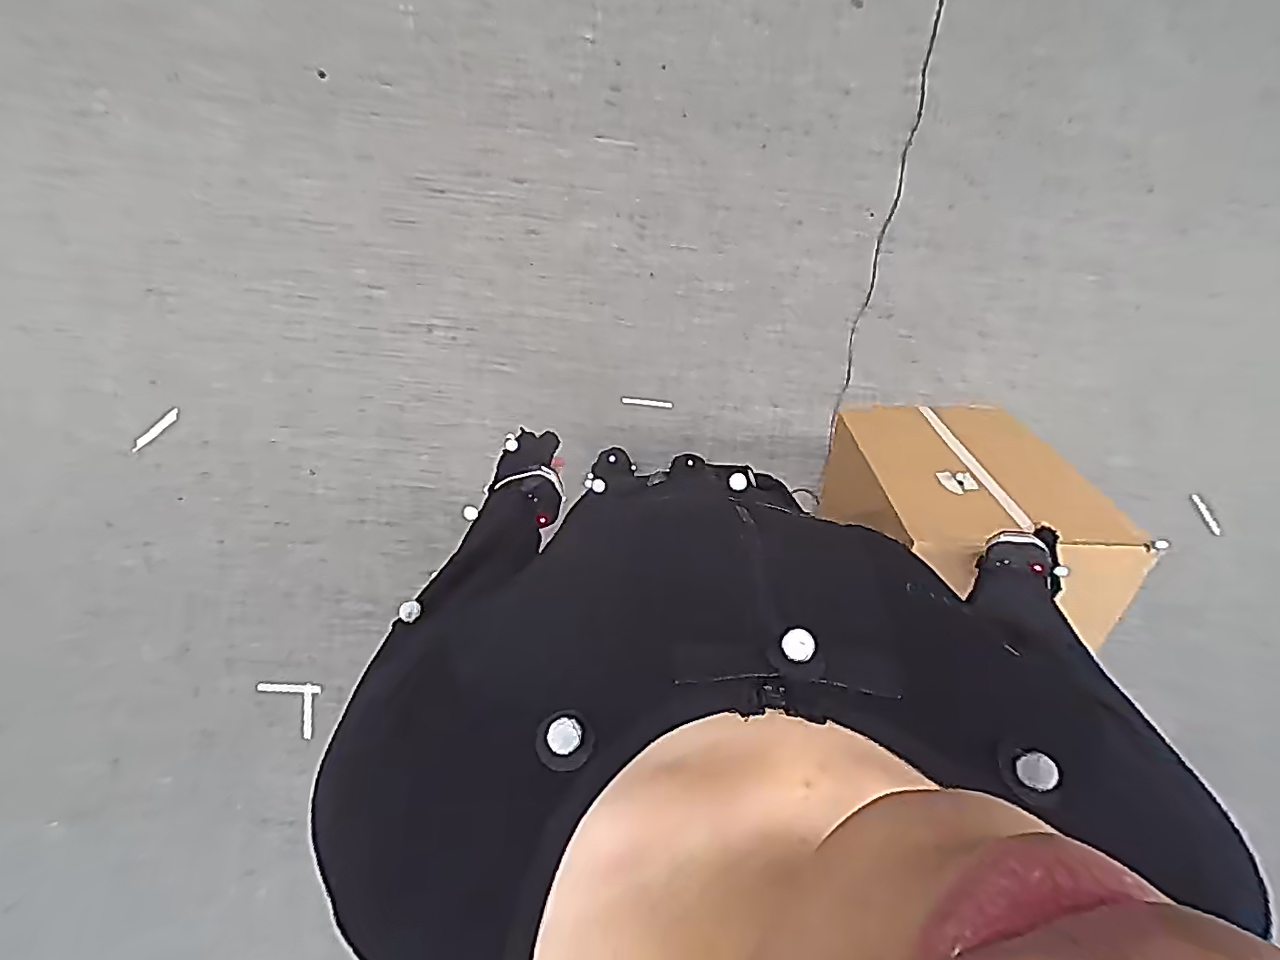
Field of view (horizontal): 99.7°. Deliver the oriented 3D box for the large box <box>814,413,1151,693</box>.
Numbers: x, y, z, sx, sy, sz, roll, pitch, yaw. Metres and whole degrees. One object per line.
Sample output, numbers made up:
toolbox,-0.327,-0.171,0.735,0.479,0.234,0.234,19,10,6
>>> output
large box,0.530,0.110,0.962,0.320,0.408,0.320,0,124,3
